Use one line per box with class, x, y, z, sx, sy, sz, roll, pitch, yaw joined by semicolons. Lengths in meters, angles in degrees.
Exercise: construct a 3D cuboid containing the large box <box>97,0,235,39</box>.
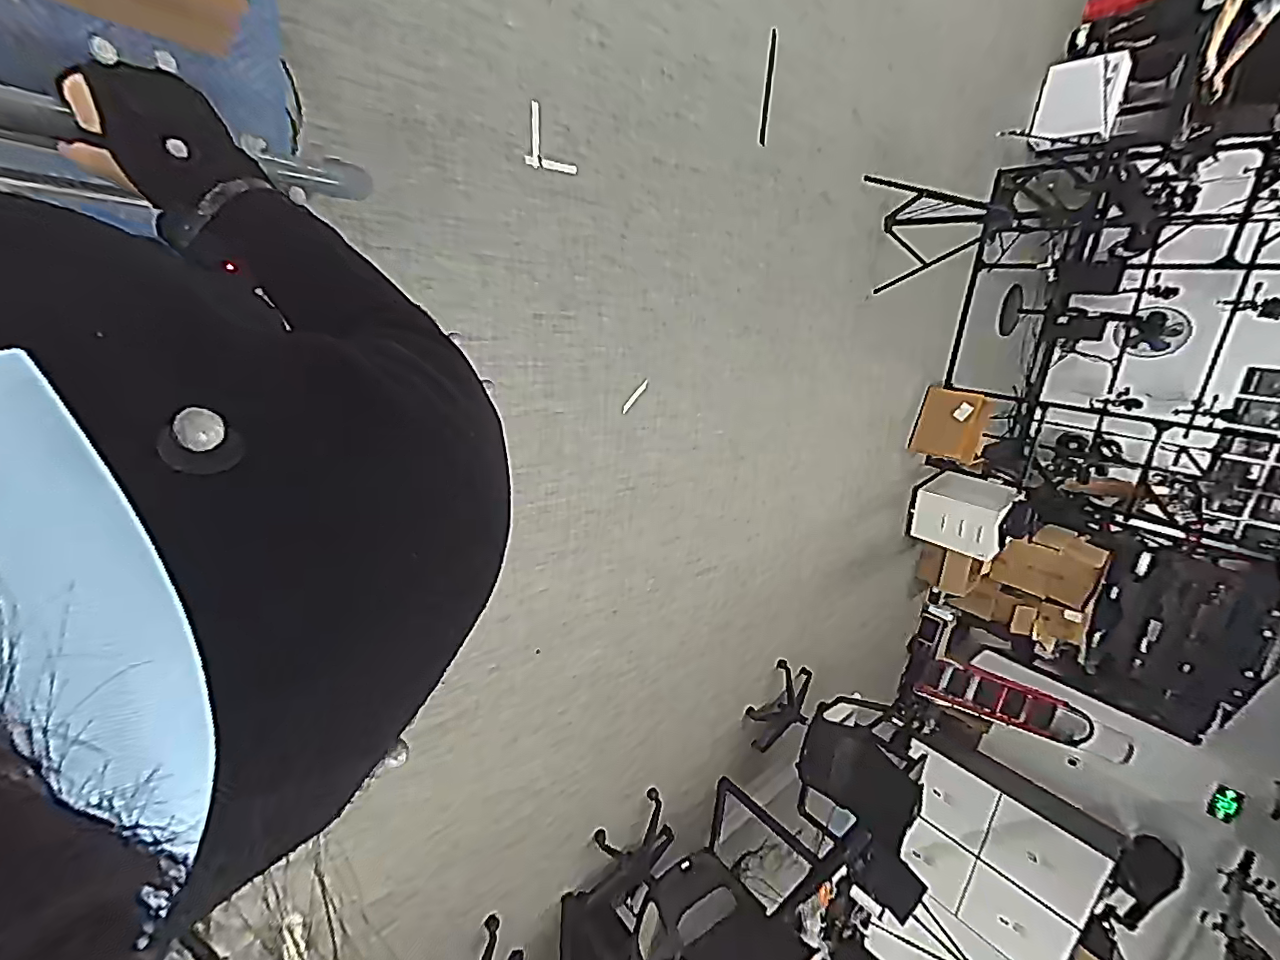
large box;-0.748;-0.821;0.642;0.408;0.320;0.320;-7;110;-41
